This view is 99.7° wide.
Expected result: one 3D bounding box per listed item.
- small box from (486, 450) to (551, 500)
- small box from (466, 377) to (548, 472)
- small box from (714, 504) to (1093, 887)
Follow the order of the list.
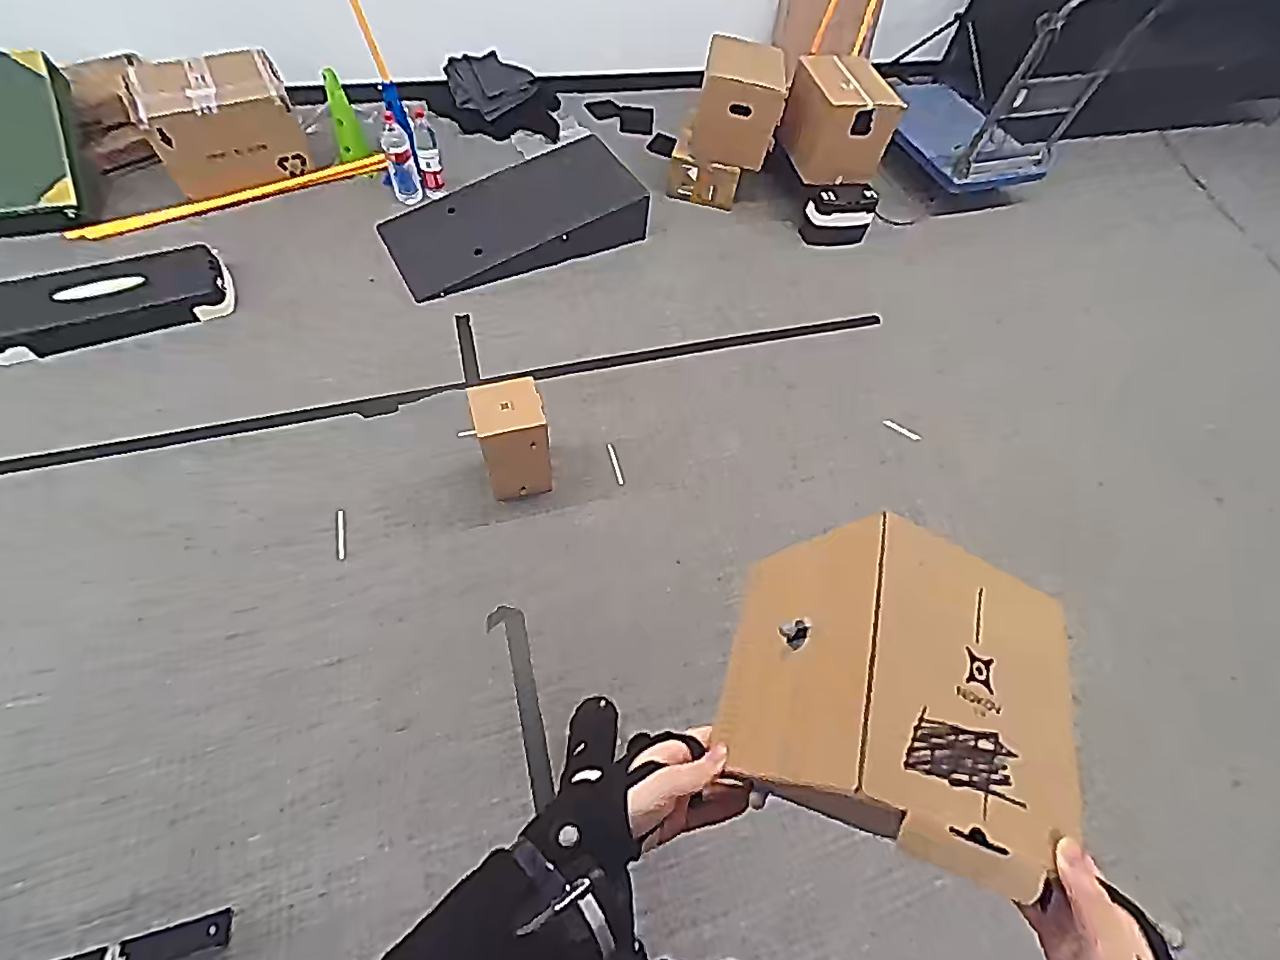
[{"bbox_3d":[-0.359,-0.062,1.565,0.179,0.176,0.168,-11,61,-14],"label":"small box"},{"bbox_3d":[-0.344,-0.144,1.424,0.179,0.176,0.168,-14,61,-13],"label":"small box"},{"bbox_3d":[0.173,0.150,0.393,0.168,0.176,0.179,26,60,-11],"label":"small box"}]
